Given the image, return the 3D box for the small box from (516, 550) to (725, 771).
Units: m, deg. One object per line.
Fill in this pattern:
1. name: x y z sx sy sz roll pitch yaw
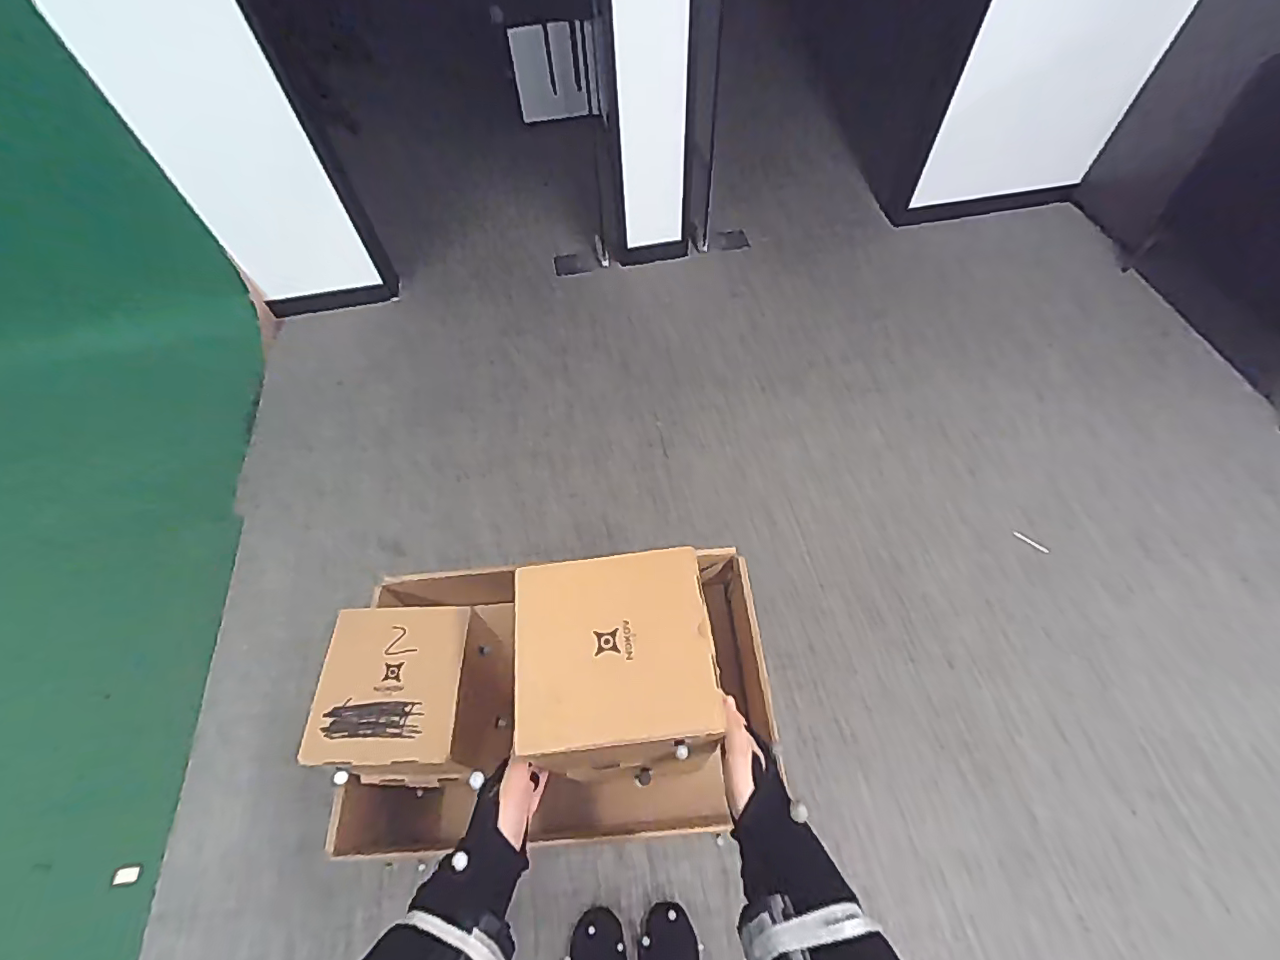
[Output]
1. small box: -0.019 0.188 0.548 0.179 0.176 0.168 -6 58 -2

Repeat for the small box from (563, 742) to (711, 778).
1. small box: -0.008 0.273 0.689 0.168 0.176 0.179 -7 59 -2
